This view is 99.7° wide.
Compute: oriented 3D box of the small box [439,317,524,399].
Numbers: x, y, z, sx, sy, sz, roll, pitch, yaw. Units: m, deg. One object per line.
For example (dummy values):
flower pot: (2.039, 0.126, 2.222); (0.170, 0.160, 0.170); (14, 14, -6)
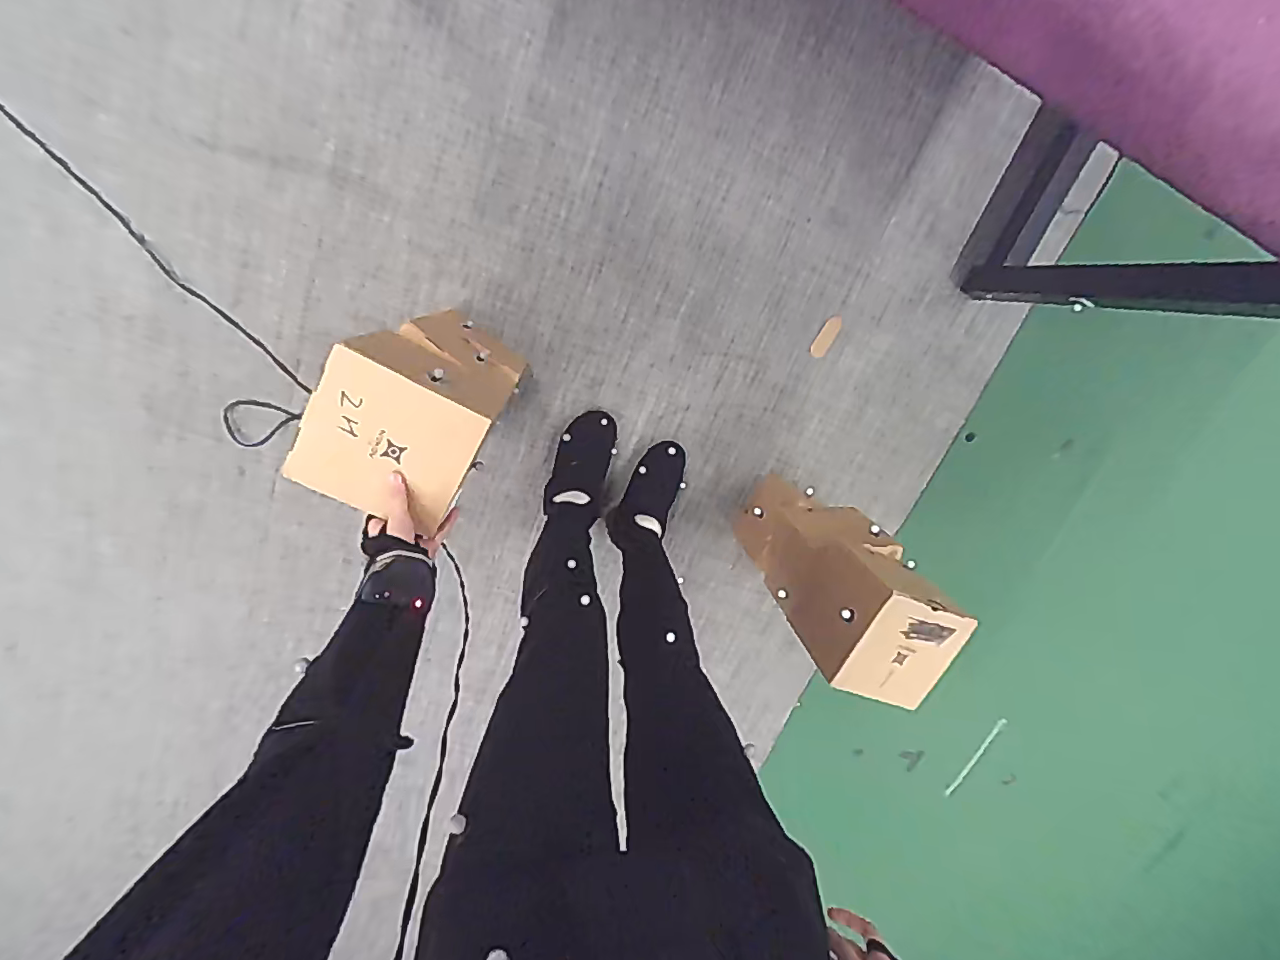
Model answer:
small box: (-0.323, -0.174, 0.971); (0.168, 0.176, 0.179); (35, 103, -18)

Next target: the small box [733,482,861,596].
small box: (0.328, 0.123, 1.173); (0.179, 0.176, 0.168); (30, 104, -17)

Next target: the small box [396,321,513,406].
small box: (-0.310, -0.120, 0.820); (0.168, 0.176, 0.179); (41, 100, -18)

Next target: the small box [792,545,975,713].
small box: (0.373, 0.230, 0.865); (0.168, 0.176, 0.179); (21, 107, -16)

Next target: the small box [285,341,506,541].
small box: (-0.283, -0.058, 0.668); (0.179, 0.176, 0.168); (28, 103, -15)
